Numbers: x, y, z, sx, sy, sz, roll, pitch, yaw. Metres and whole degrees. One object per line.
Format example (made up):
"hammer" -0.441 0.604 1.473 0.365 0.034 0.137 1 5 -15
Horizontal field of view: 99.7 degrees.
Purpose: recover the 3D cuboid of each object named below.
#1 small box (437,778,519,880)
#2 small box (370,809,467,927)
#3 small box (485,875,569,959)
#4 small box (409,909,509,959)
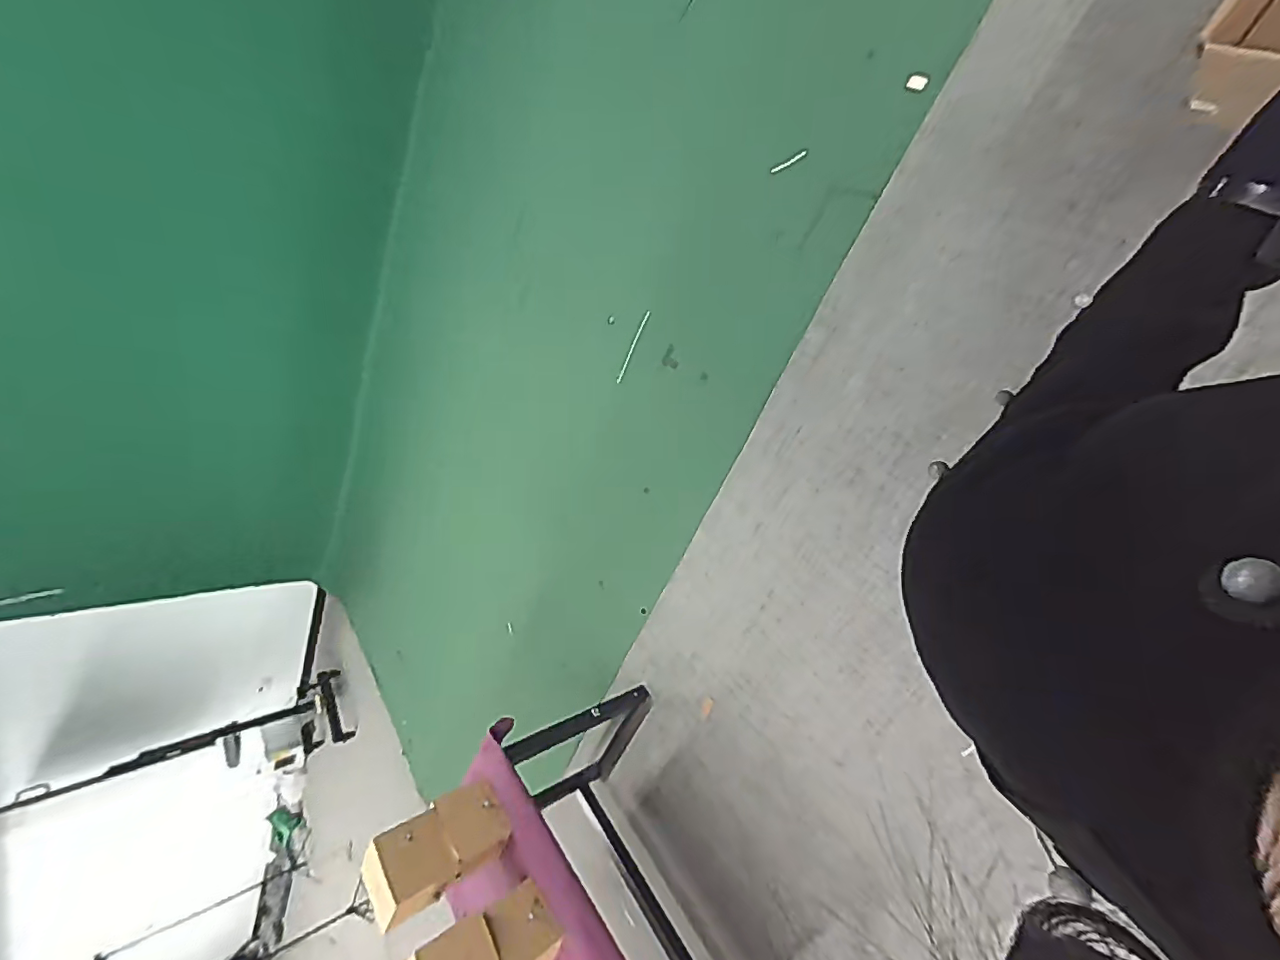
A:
"small box" -0.475 0.990 1.547 0.179 0.176 0.168 40 119 35
"small box" -0.585 1.009 1.427 0.179 0.176 0.168 46 122 32
"small box" -0.307 1.181 1.392 0.168 0.176 0.179 37 117 36
"small box" -0.422 1.159 1.274 0.179 0.176 0.168 52 126 28
